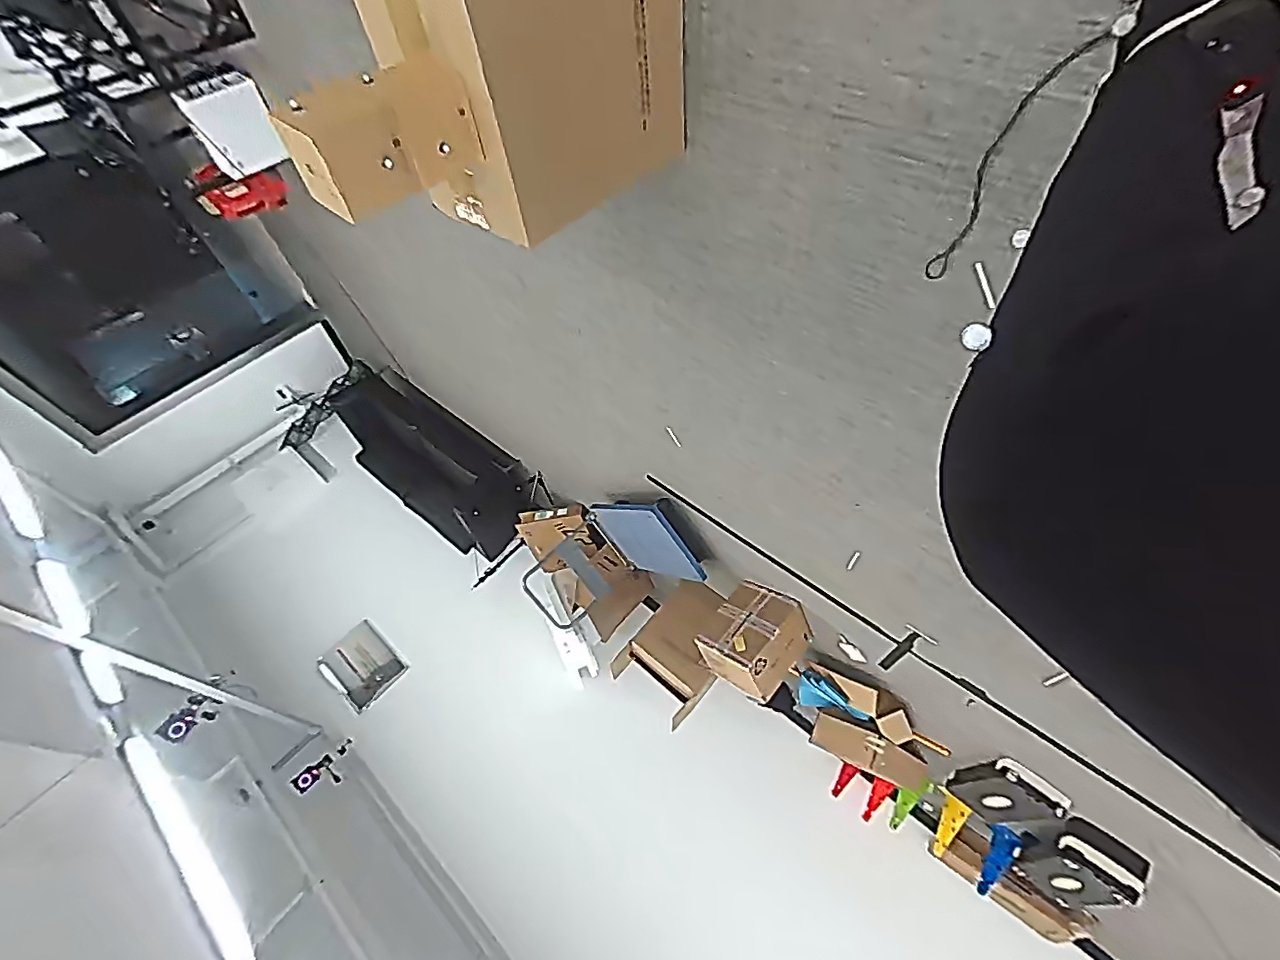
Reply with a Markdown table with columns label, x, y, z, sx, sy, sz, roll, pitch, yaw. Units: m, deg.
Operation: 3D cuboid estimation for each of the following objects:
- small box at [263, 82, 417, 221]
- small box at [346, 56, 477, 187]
| label | x | y | z | sx | sy | sz | roll | pitch | yaw |
| --- | --- | --- | --- | --- | --- | --- | --- | --- | --- |
| small box | -0.579 | -0.651 | 1.065 | 0.179 | 0.176 | 0.168 | 36 | 155 | 23 |
| small box | -0.465 | -0.752 | 1.130 | 0.179 | 0.176 | 0.168 | 35 | 154 | 25 |
